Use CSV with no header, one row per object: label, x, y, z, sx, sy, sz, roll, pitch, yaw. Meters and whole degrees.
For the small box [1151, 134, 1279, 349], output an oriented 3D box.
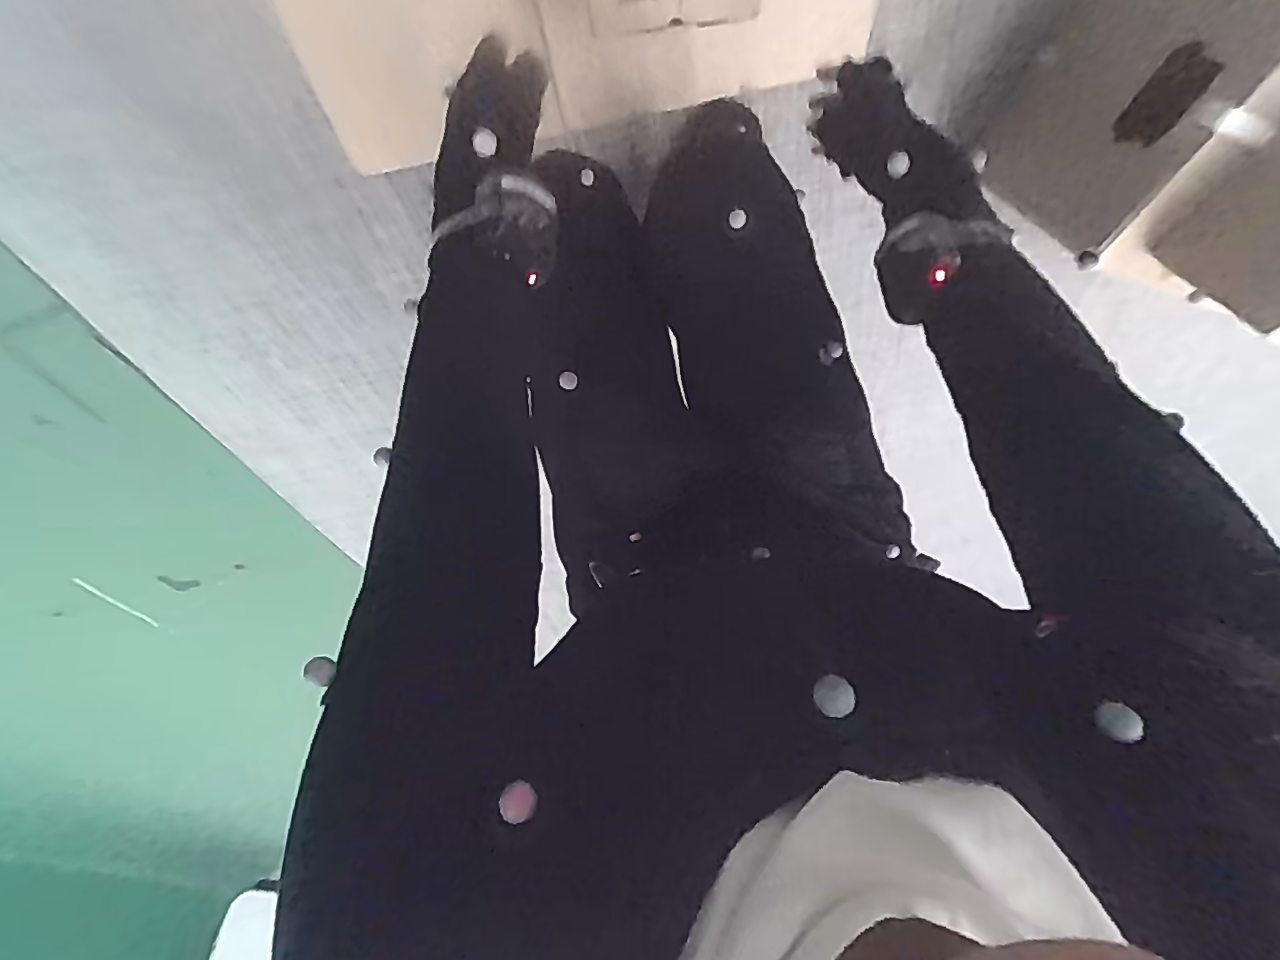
small box,0.680,-0.232,0.526,0.168,0.176,0.179,11,136,-17
